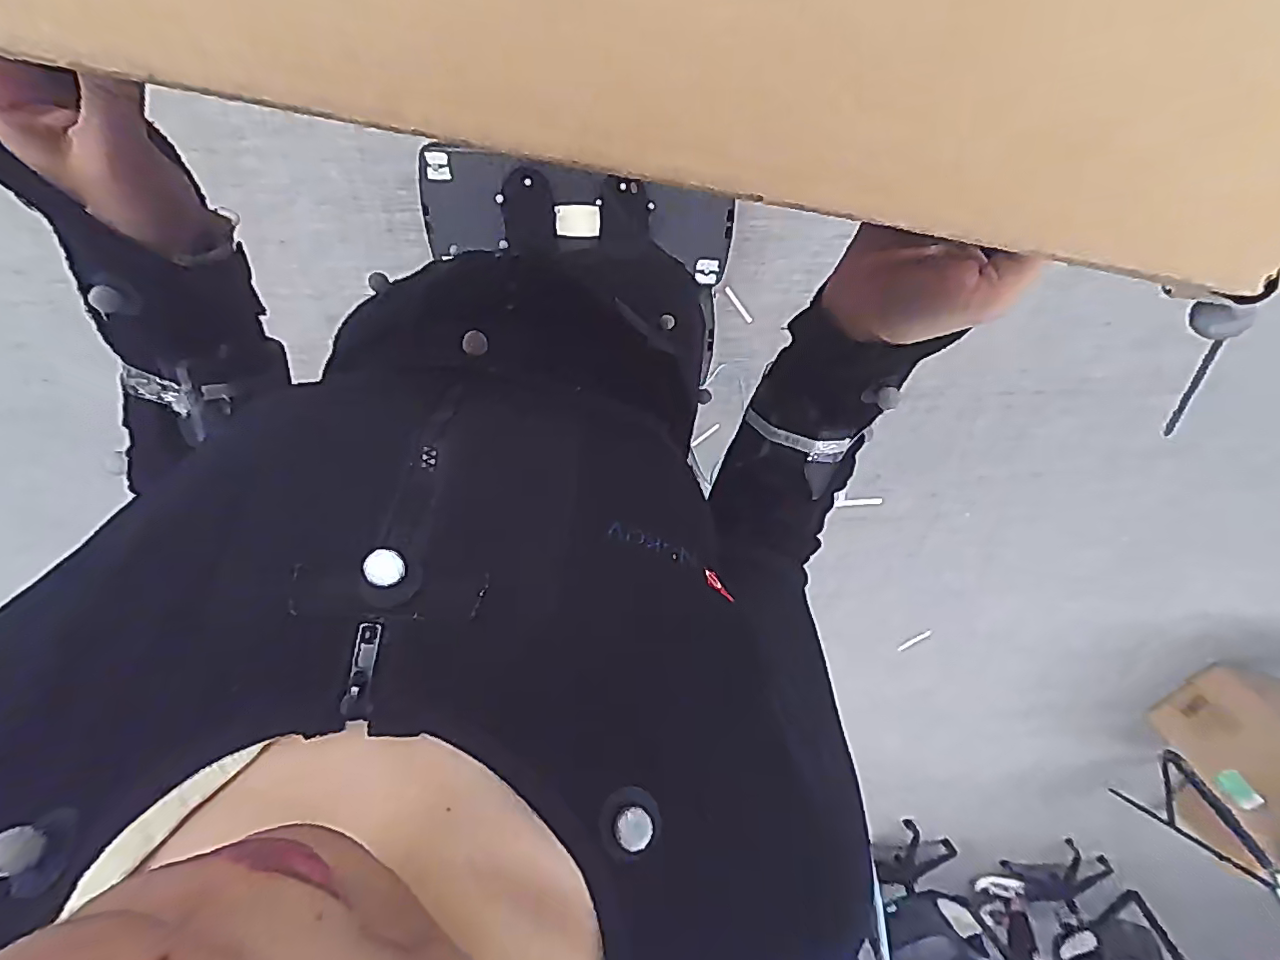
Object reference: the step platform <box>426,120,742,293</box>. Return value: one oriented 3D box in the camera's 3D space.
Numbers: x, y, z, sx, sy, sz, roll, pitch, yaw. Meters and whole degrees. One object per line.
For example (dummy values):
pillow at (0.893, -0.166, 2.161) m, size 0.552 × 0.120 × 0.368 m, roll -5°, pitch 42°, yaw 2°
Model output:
step platform at (-0.119, -0.611, 1.226) m, size 0.684 × 0.204 × 0.286 m, roll 3°, pitch 123°, yaw -5°
